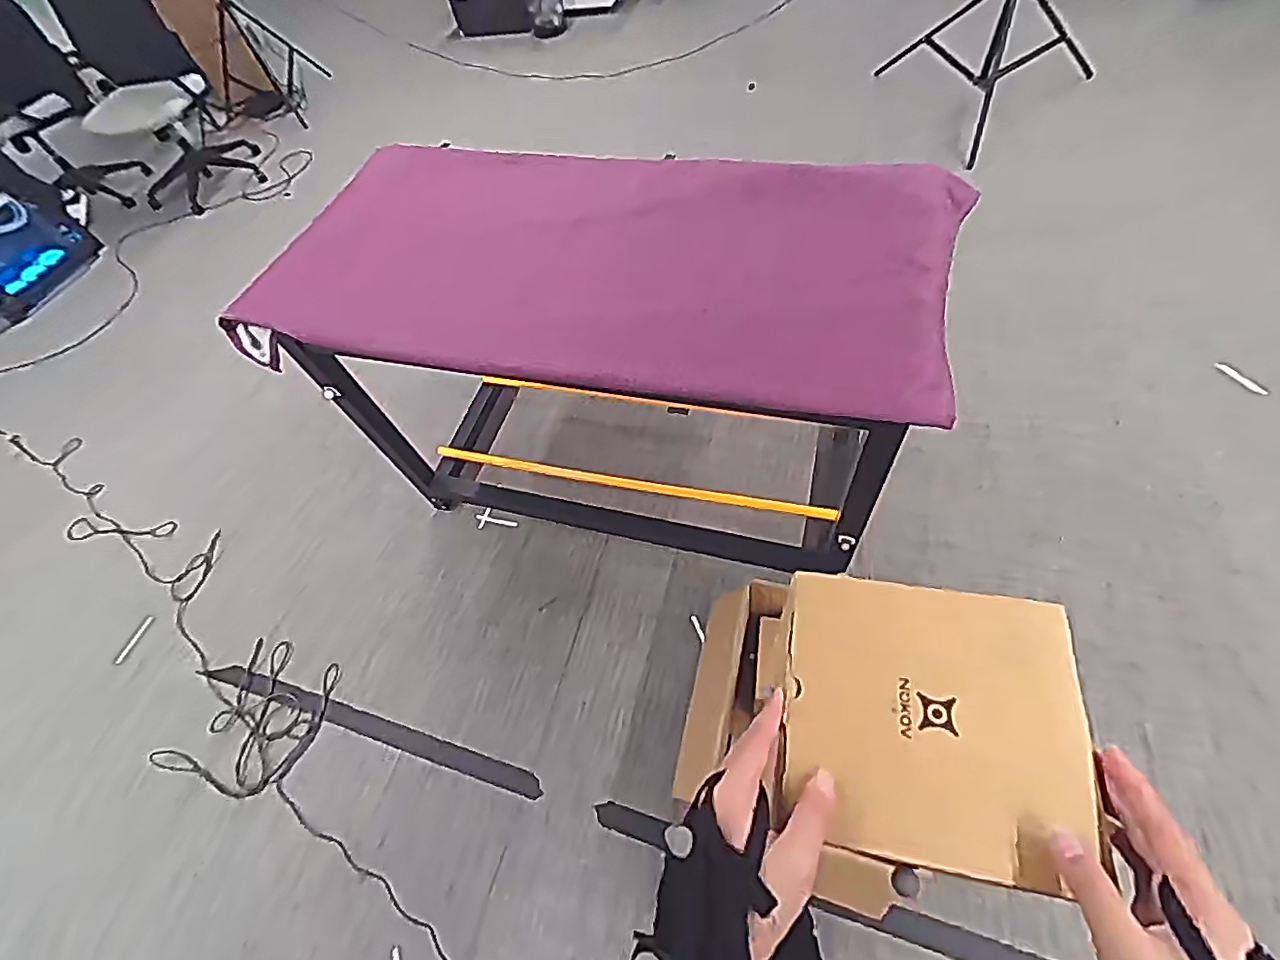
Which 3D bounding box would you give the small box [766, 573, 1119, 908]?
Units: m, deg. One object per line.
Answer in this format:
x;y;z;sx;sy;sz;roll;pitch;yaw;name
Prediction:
0.193;0.185;0.404;0.179;0.176;0.168;5;60;13;small box
